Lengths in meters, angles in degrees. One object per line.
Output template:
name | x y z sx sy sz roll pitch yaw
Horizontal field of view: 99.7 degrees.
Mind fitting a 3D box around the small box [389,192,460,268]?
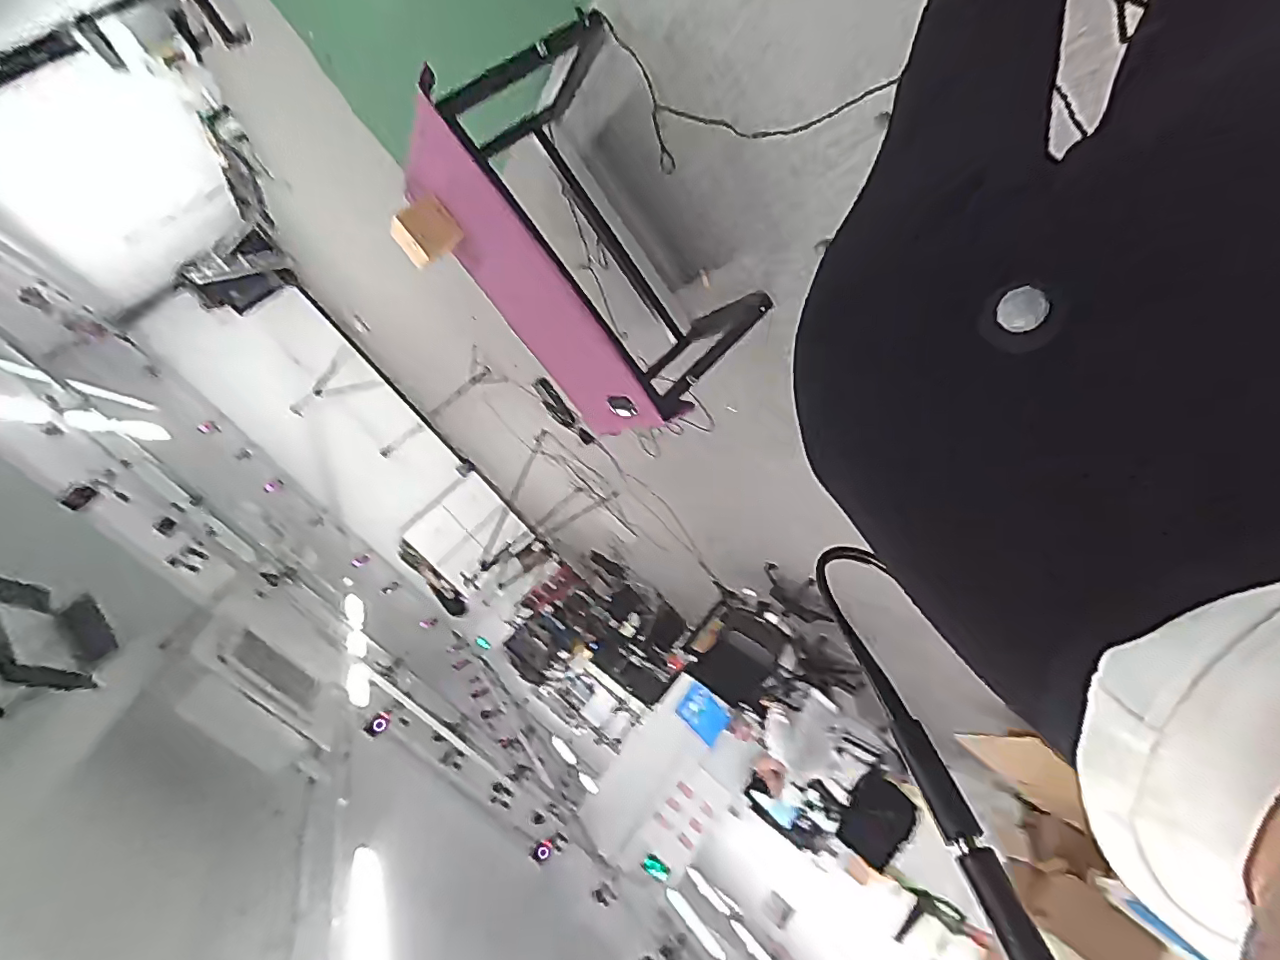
small box | -0.782 -0.908 1.969 0.168 0.176 0.179 52 159 -22
